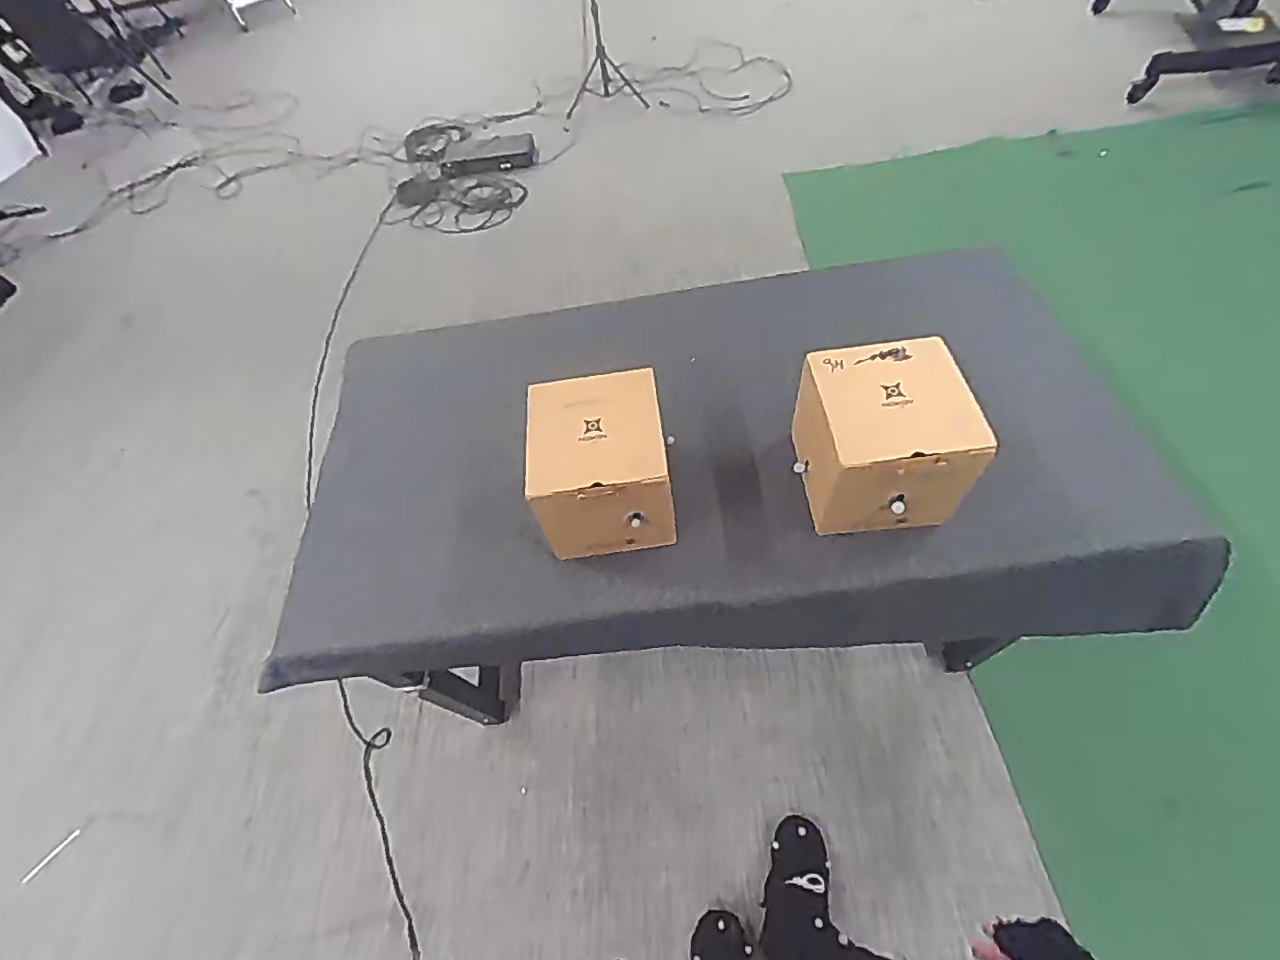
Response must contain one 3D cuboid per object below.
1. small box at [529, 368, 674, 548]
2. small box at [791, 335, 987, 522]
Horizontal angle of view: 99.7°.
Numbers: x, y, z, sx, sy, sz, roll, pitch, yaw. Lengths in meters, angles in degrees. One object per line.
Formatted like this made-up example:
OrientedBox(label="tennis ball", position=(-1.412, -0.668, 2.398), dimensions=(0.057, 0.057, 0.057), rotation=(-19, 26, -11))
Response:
OrientedBox(label="small box", position=(-0.047, -0.020, 0.727), dimensions=(0.168, 0.176, 0.179), rotation=(-8, 55, 1))
OrientedBox(label="small box", position=(0.302, -0.056, 0.700), dimensions=(0.168, 0.176, 0.179), rotation=(-7, 58, 3))
